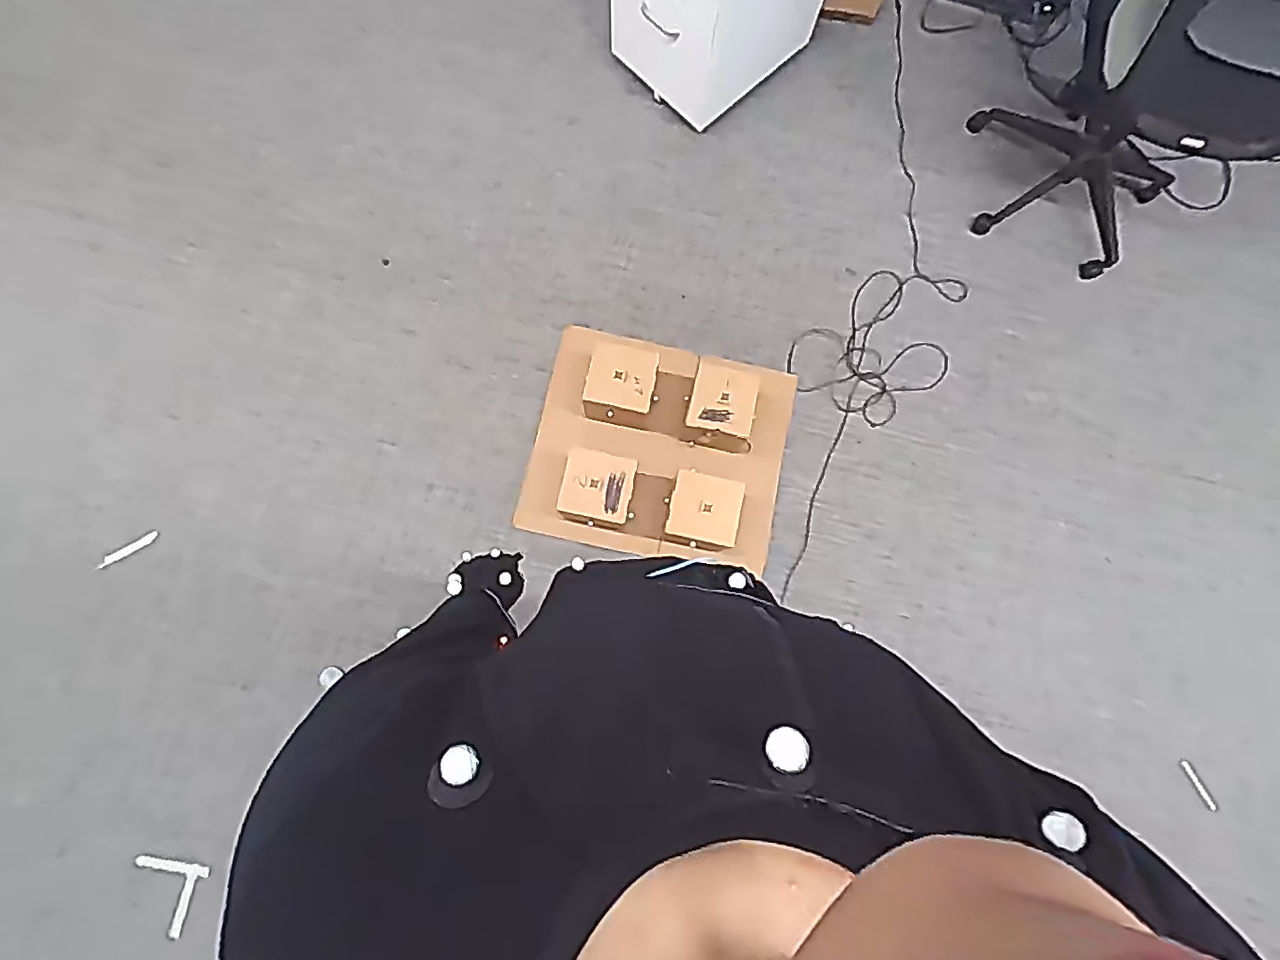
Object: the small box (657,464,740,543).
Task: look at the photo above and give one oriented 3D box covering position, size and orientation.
[{"bbox_3d":[0.147,0.069,1.425,0.179,0.176,0.168,13,80,2],"label":"small box"}]
